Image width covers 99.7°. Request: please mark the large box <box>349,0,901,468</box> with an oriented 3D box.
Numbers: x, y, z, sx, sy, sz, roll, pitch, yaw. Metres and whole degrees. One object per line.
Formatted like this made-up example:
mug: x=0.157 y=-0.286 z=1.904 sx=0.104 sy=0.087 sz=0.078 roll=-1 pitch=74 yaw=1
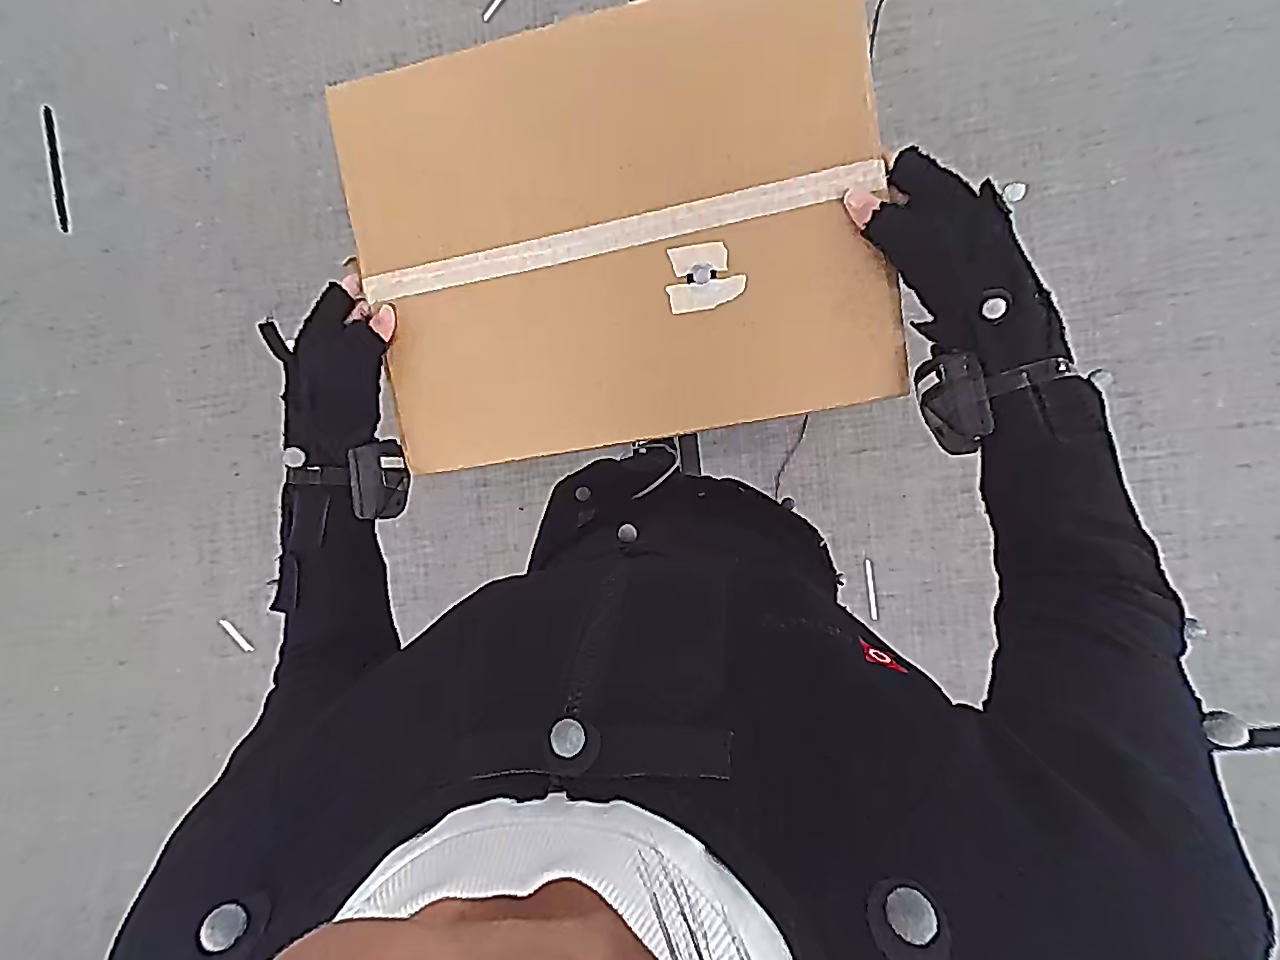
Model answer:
large box: x=-0.003 y=-0.209 z=0.573 sx=0.408 sy=0.320 sz=0.320 roll=-10 pitch=96 yaw=8
